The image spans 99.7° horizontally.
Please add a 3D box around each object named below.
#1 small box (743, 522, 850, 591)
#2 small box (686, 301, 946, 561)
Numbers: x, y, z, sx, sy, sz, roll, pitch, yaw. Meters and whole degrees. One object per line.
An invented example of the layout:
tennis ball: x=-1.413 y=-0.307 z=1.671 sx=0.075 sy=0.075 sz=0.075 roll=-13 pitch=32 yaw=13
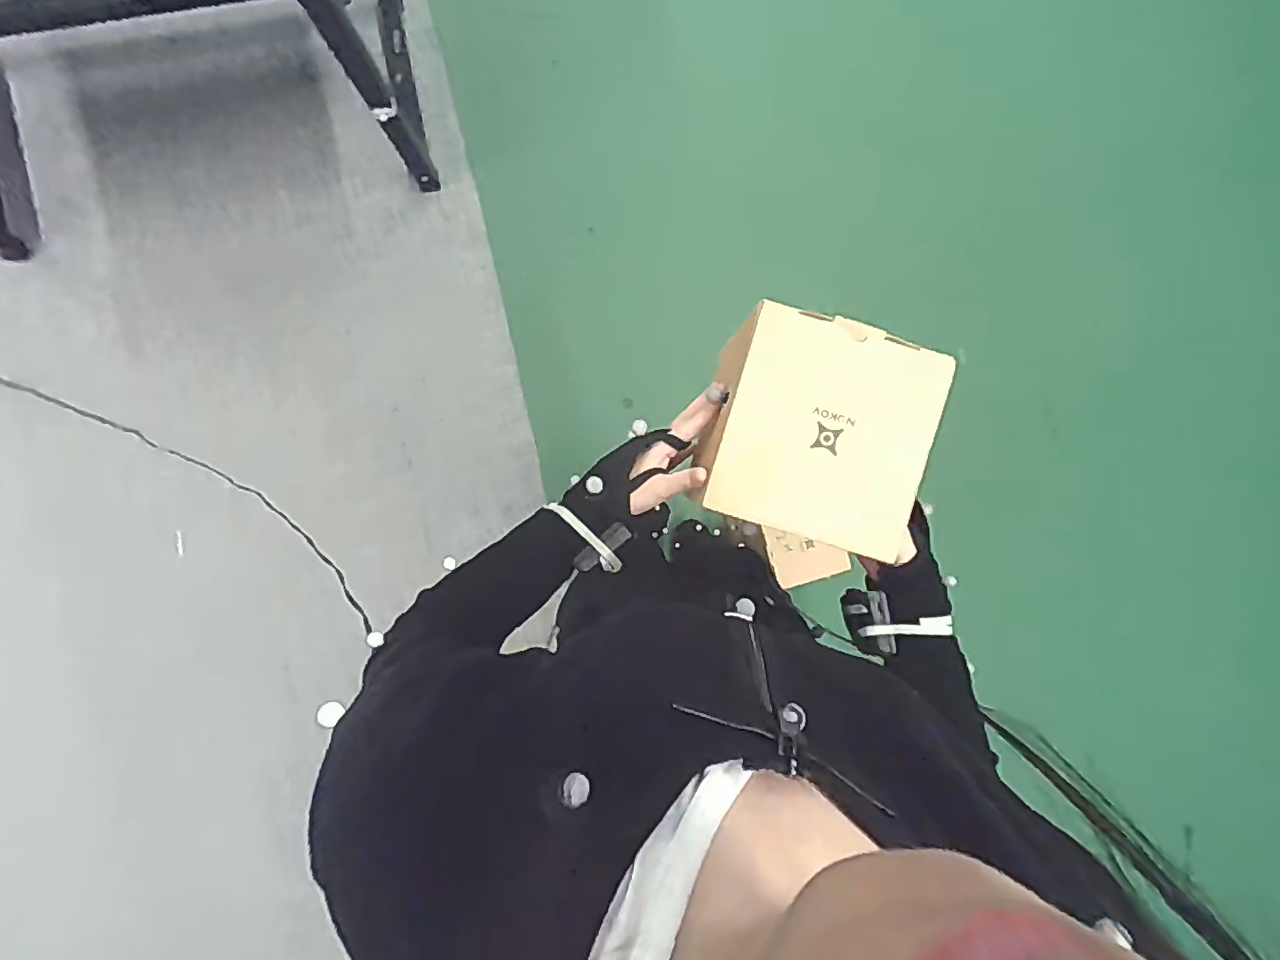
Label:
small box: x=0.364 y=0.151 z=1.284 sx=0.179 sy=0.176 sz=0.168 roll=-15 pitch=89 yaw=-3
small box: x=0.146 y=-0.040 z=0.517 sx=0.168 sy=0.176 sz=0.179 roll=16 pitch=90 yaw=-1
